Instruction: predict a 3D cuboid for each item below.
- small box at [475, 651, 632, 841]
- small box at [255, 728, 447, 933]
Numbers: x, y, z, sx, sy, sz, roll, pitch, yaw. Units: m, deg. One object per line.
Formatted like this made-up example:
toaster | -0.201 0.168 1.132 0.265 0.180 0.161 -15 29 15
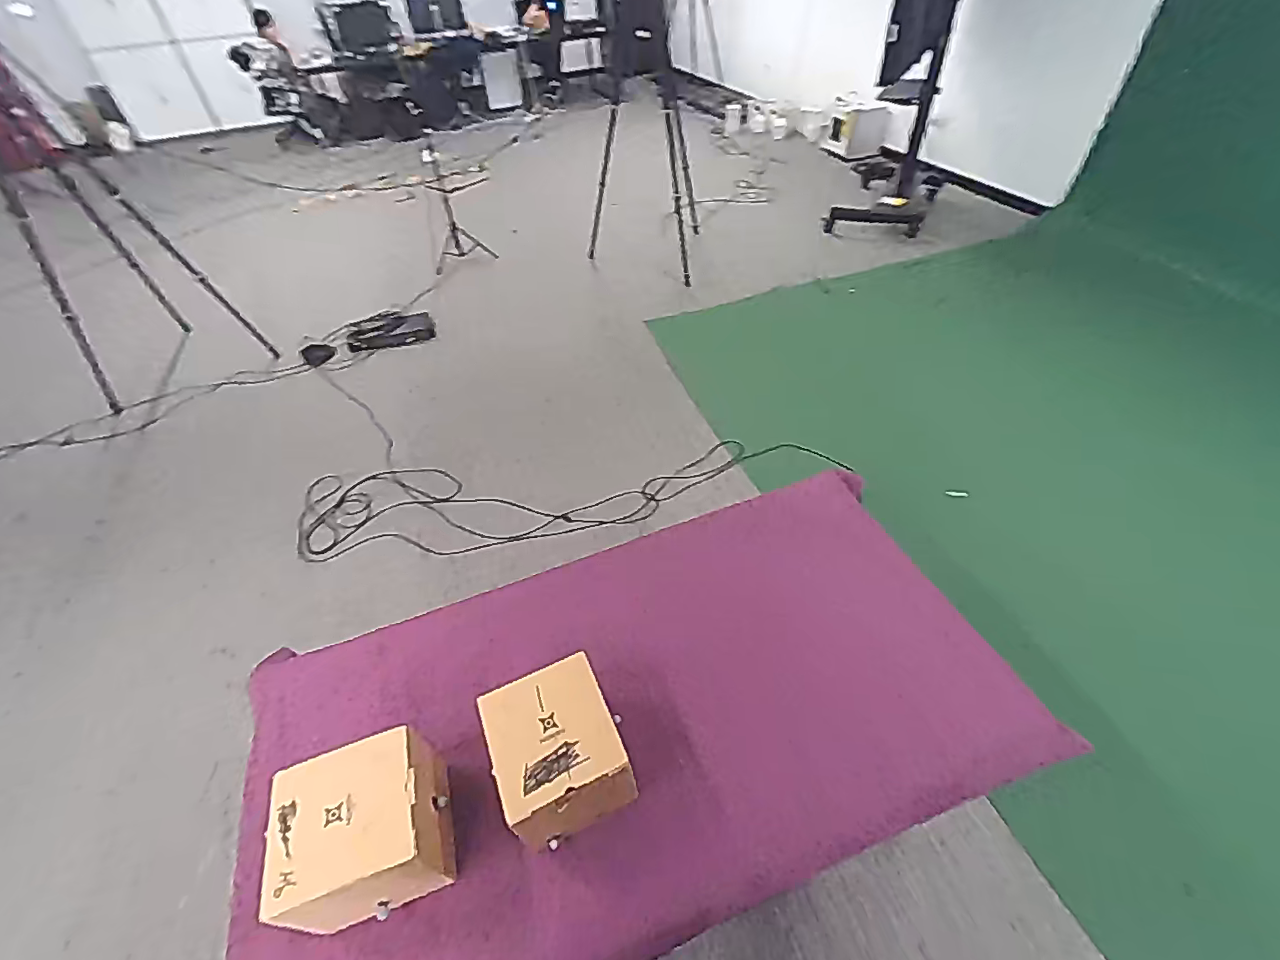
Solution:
small box | -0.119 0.389 0.781 0.168 0.176 0.179 -20 47 -15
small box | -0.368 0.467 0.723 0.179 0.176 0.168 -16 47 -13
